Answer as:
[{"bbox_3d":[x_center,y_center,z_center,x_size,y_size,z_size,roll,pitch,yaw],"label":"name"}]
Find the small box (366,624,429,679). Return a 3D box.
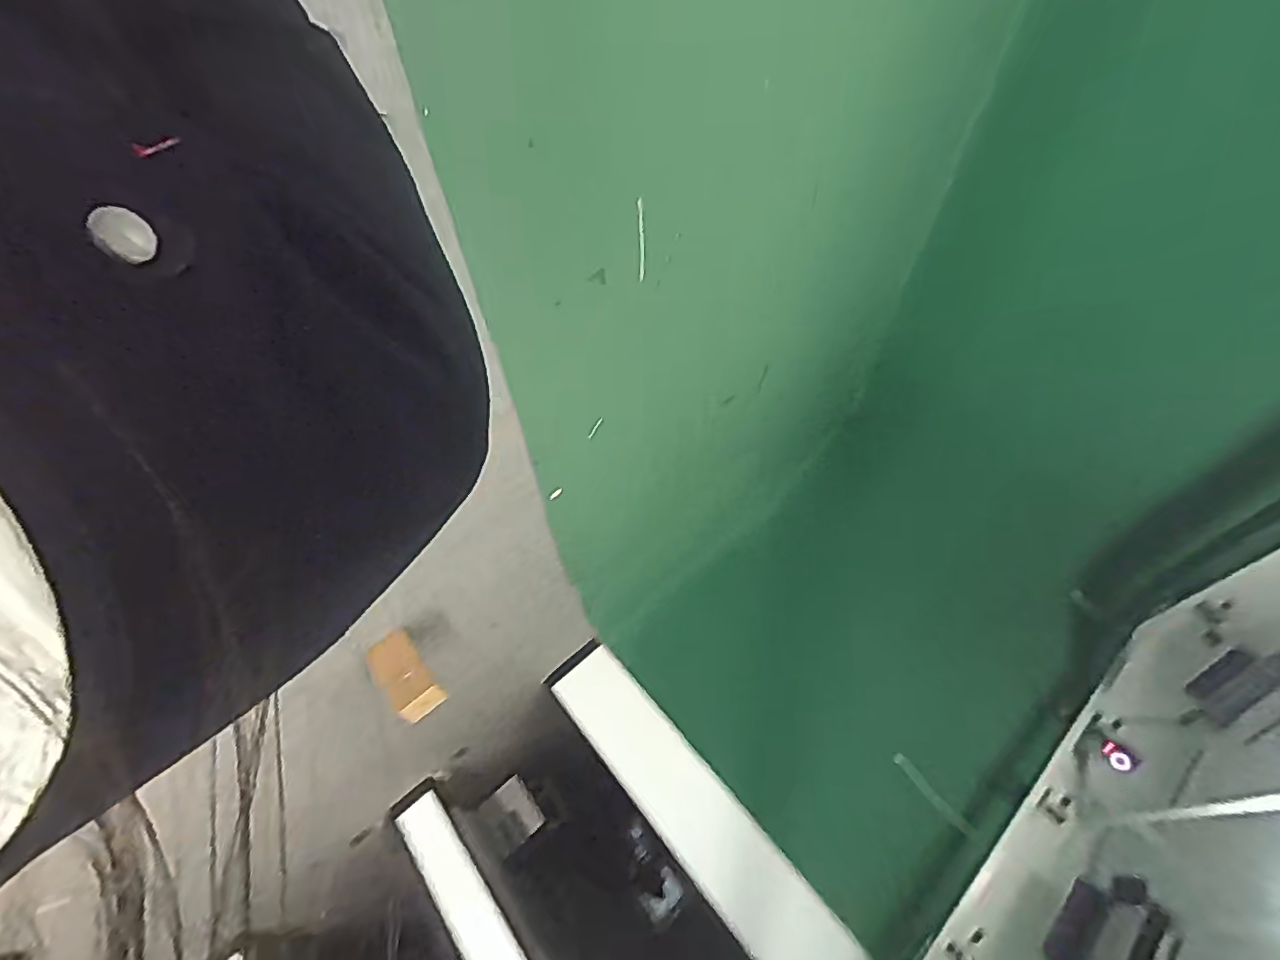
[{"bbox_3d":[-1.062,0.767,2.367,0.179,0.176,0.168,-34,149,-22],"label":"small box"}]

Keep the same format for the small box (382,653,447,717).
[{"bbox_3d":[-0.957,0.868,2.297,0.168,0.176,0.179,-37,149,-22],"label":"small box"}]
